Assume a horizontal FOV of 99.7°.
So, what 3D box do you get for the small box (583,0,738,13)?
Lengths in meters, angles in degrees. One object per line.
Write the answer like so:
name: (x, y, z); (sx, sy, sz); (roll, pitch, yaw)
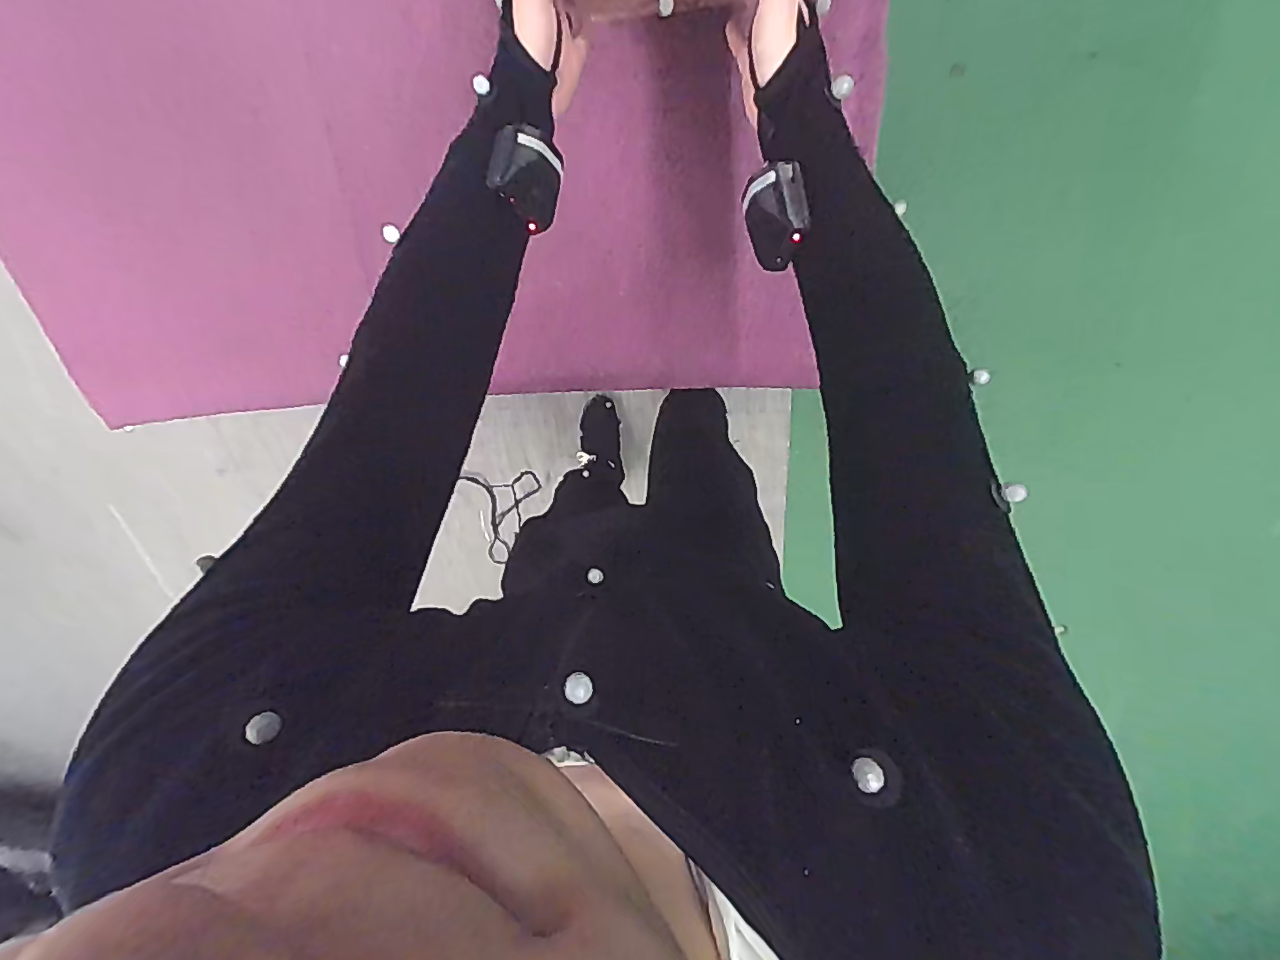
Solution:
small box: (0.015, -0.501, 0.429); (0.168, 0.176, 0.179); (0, 120, 8)
